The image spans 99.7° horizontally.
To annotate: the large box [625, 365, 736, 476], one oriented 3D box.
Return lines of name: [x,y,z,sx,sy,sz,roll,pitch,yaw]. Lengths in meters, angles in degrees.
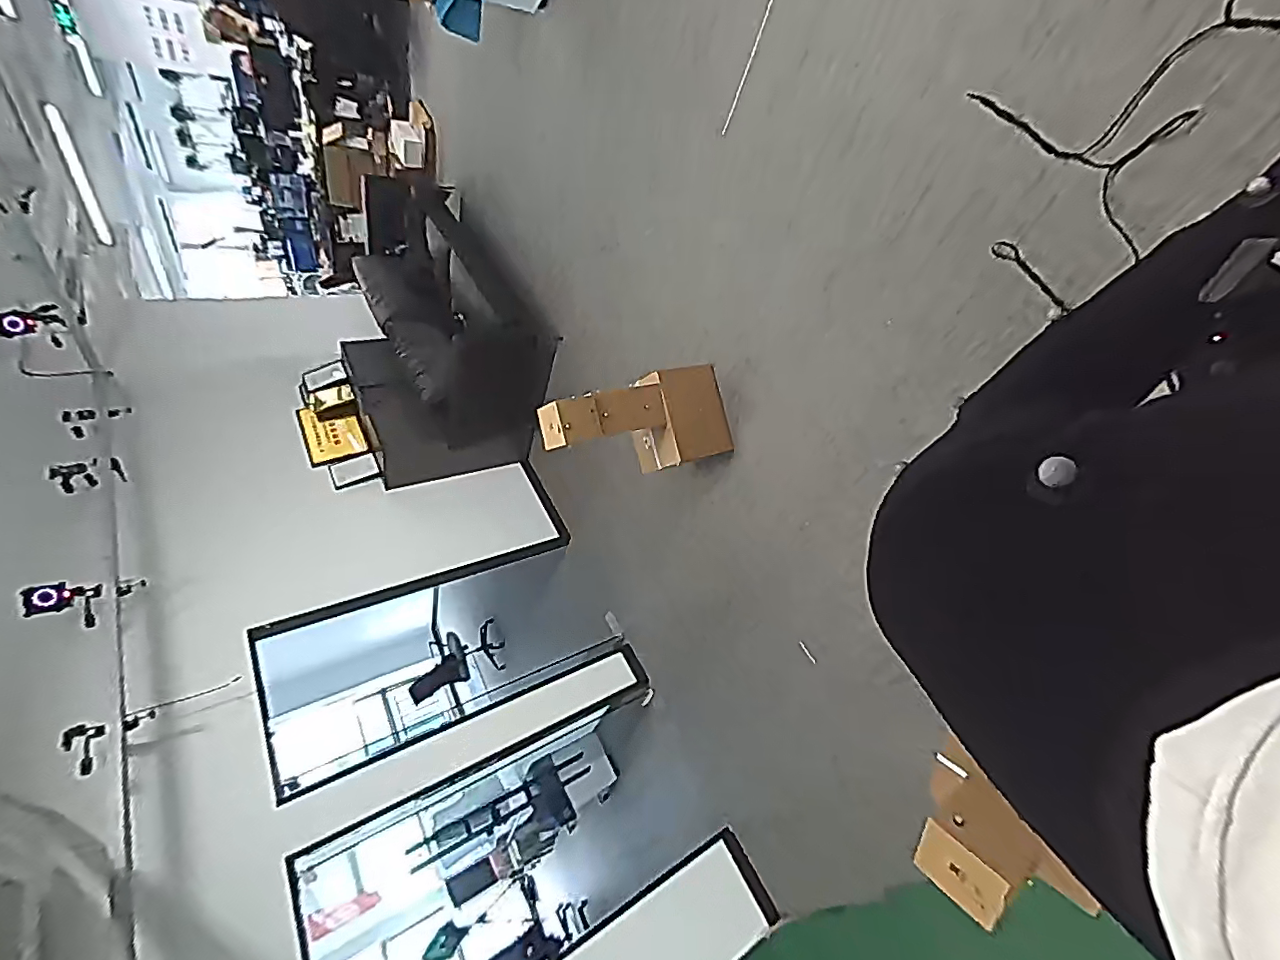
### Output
large box: [0.179,-0.267,2.456,0.320,0.320,0.408,-18,88,59]

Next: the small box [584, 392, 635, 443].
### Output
small box: [-0.143,-0.254,2.190,0.168,0.176,0.179,-10,95,57]

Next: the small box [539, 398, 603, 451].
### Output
small box: [-0.266,-0.213,2.089,0.179,0.176,0.168,-8,98,57]

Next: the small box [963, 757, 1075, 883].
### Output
small box: [0.899,0.805,1.305,0.179,0.176,0.168,27,124,50]

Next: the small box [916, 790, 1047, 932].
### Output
small box: [0.764,0.839,1.217,0.179,0.176,0.168,30,127,49]
